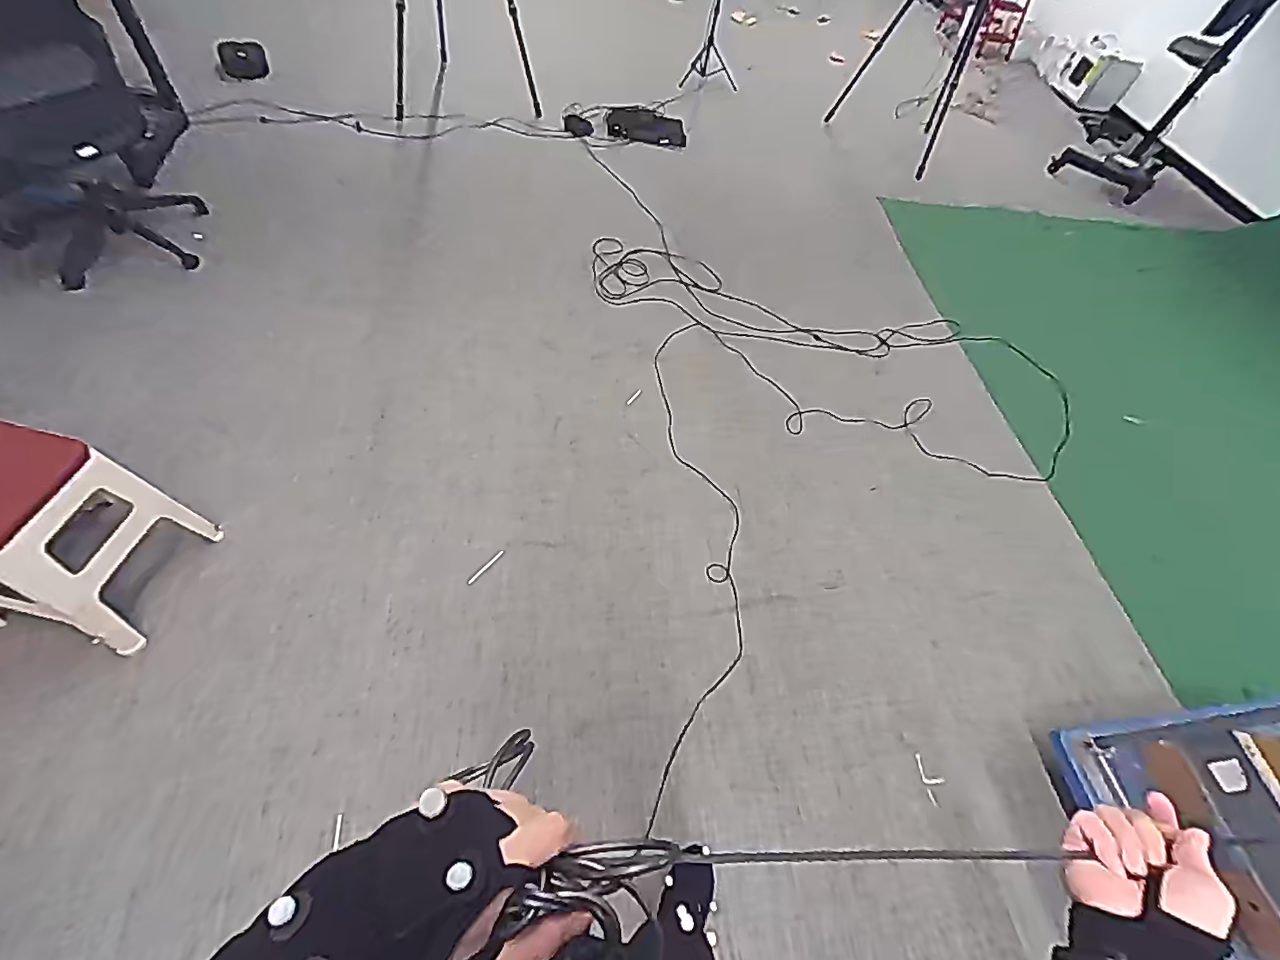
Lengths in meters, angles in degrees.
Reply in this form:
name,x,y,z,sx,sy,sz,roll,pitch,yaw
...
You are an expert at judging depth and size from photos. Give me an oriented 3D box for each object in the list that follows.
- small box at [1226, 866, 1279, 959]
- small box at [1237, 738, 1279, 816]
name,x,y,z,sx,sy,sz,roll,pitch,yaw
small box,1.501,0.972,1.204,0.179,0.176,0.168,-2,57,-9
small box,1.716,0.754,1.385,0.179,0.176,0.168,-5,58,-12
